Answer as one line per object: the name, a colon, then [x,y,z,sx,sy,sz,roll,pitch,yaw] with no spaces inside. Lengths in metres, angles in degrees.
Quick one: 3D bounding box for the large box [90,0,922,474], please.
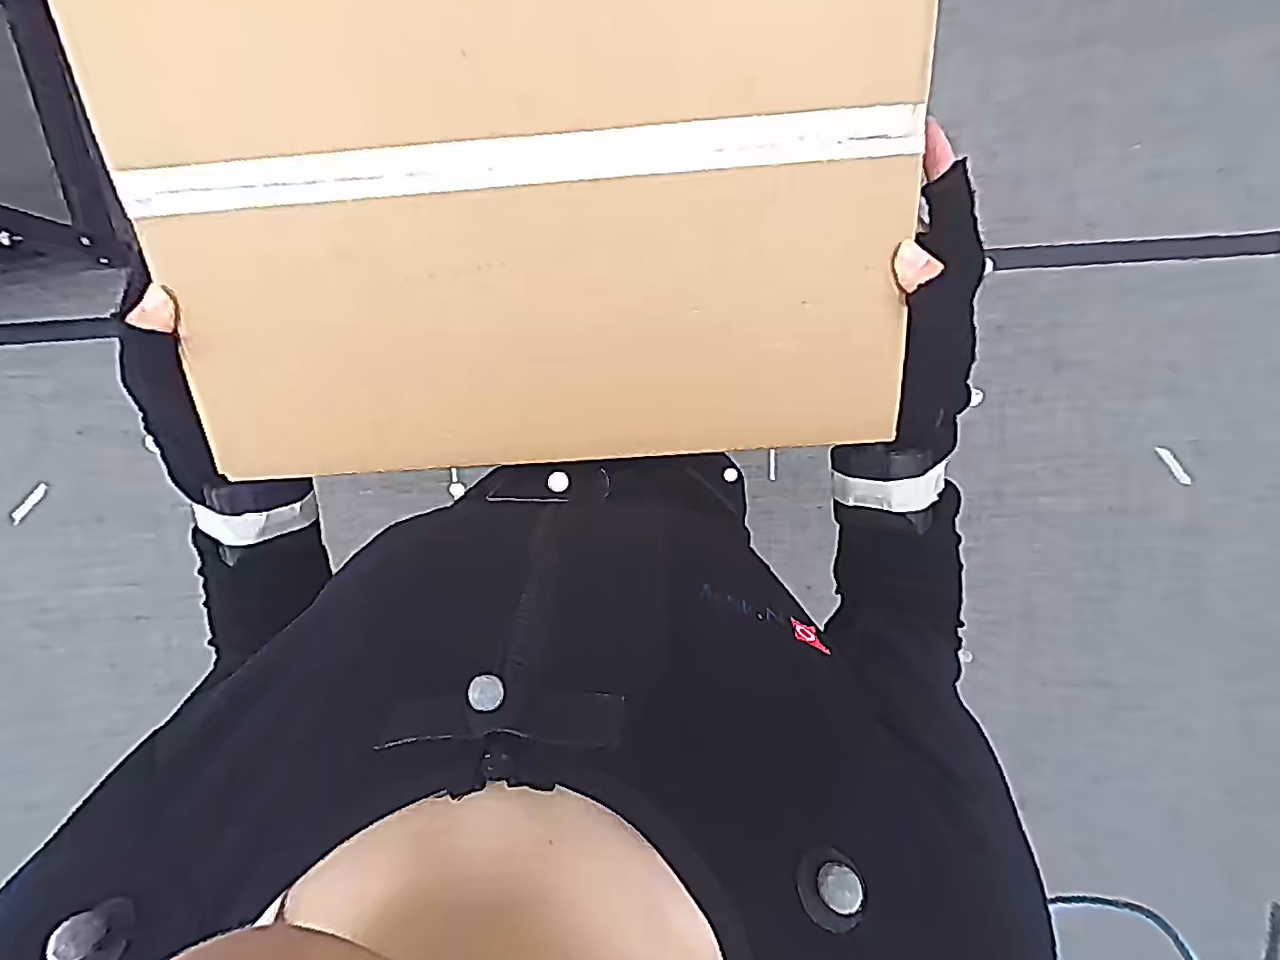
large box: [-0.061,-0.211,0.422,0.408,0.320,0.320,-4,111,2]
